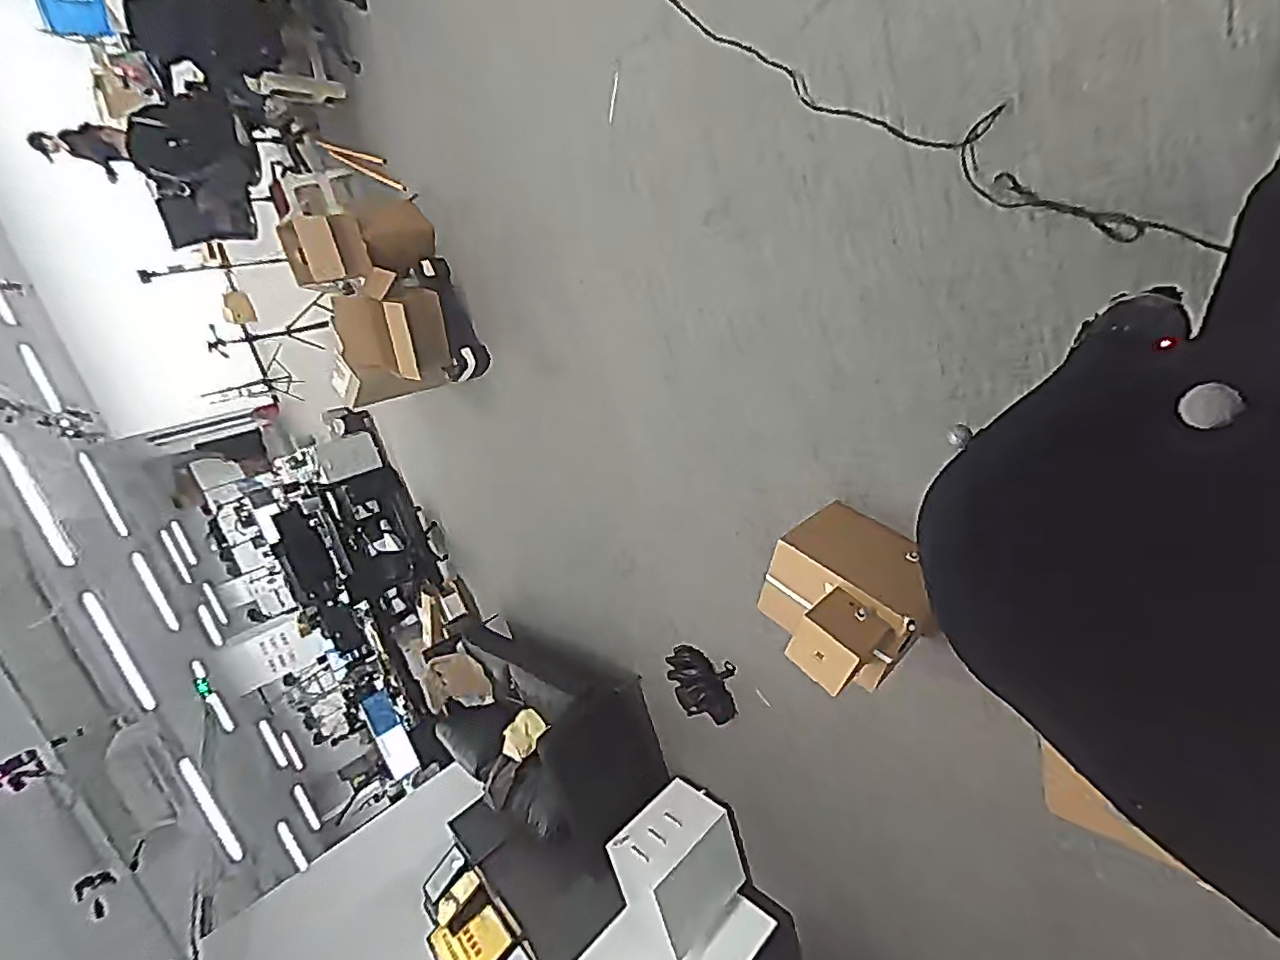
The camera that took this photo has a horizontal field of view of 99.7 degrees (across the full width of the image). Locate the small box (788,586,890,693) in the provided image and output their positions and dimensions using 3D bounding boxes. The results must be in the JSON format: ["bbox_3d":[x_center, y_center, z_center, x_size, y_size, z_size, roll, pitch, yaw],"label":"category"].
[{"bbox_3d":[0.525,0.415,1.425,0.168,0.176,0.179,38,135,32],"label":"small box"}]
